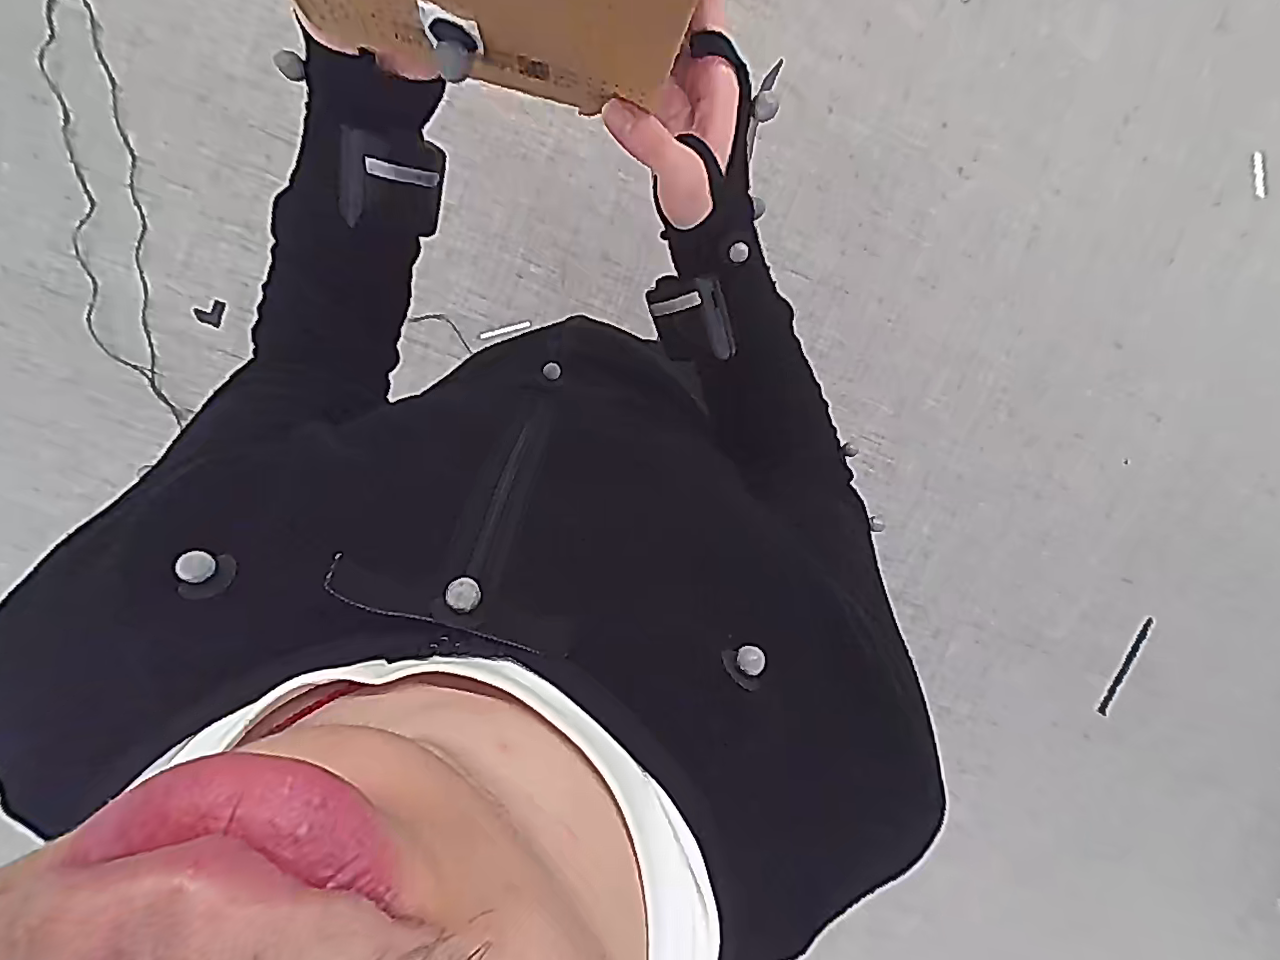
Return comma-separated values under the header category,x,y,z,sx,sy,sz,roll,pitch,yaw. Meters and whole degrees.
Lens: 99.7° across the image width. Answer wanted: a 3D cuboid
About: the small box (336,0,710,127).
category,x,y,z,sx,sy,sz,roll,pitch,yaw
small box,-0.044,-0.274,0.194,0.168,0.176,0.179,7,98,-10
